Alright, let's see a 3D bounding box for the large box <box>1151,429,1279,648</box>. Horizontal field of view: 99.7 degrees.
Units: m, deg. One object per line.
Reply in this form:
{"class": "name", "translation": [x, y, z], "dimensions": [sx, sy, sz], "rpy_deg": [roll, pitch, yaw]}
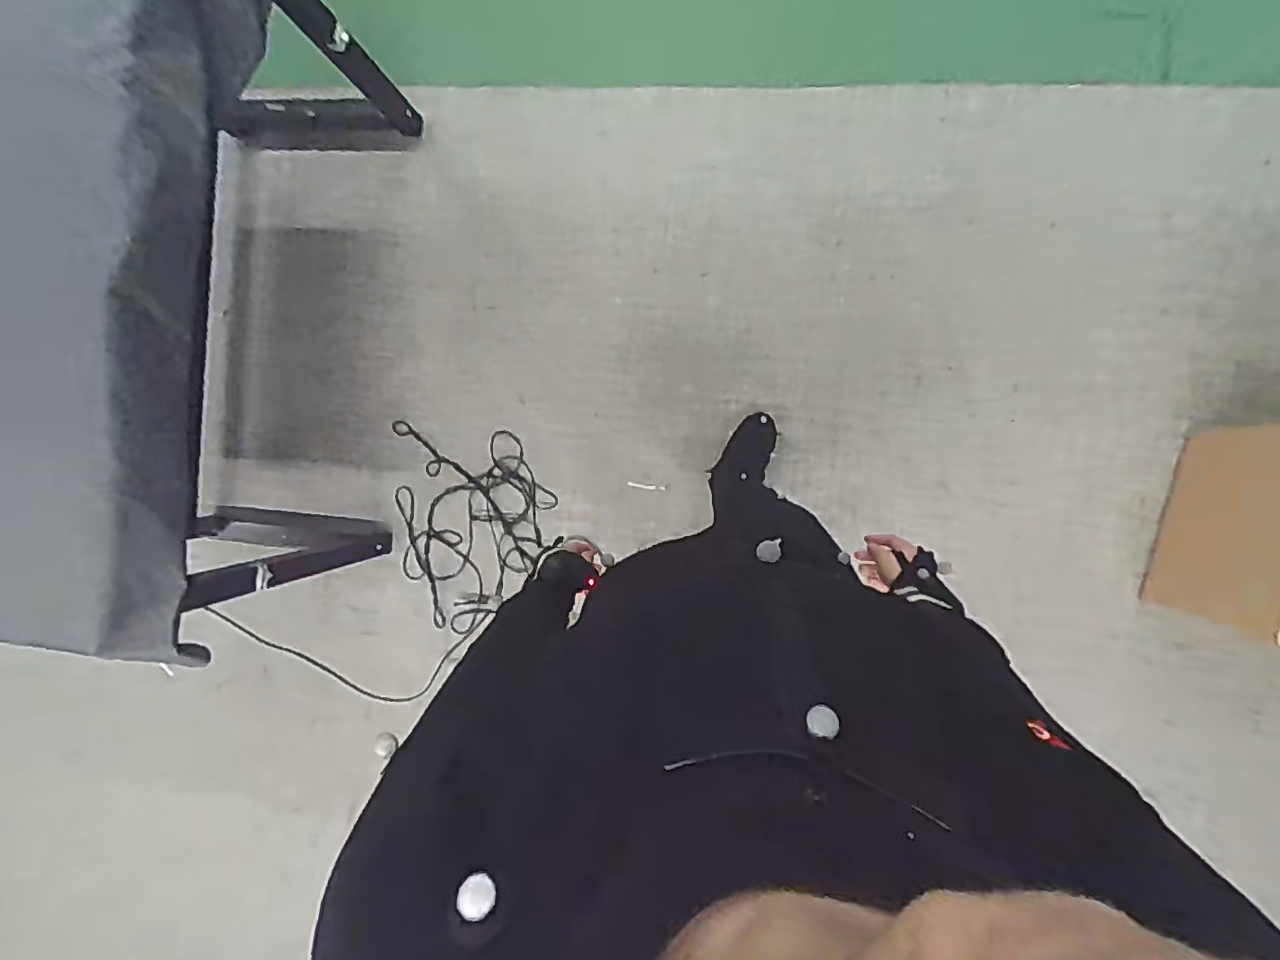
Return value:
{"class": "large box", "translation": [1.317, 0.122, 1.049], "dimensions": [0.320, 0.320, 0.408], "rpy_deg": [12, 94, 9]}
